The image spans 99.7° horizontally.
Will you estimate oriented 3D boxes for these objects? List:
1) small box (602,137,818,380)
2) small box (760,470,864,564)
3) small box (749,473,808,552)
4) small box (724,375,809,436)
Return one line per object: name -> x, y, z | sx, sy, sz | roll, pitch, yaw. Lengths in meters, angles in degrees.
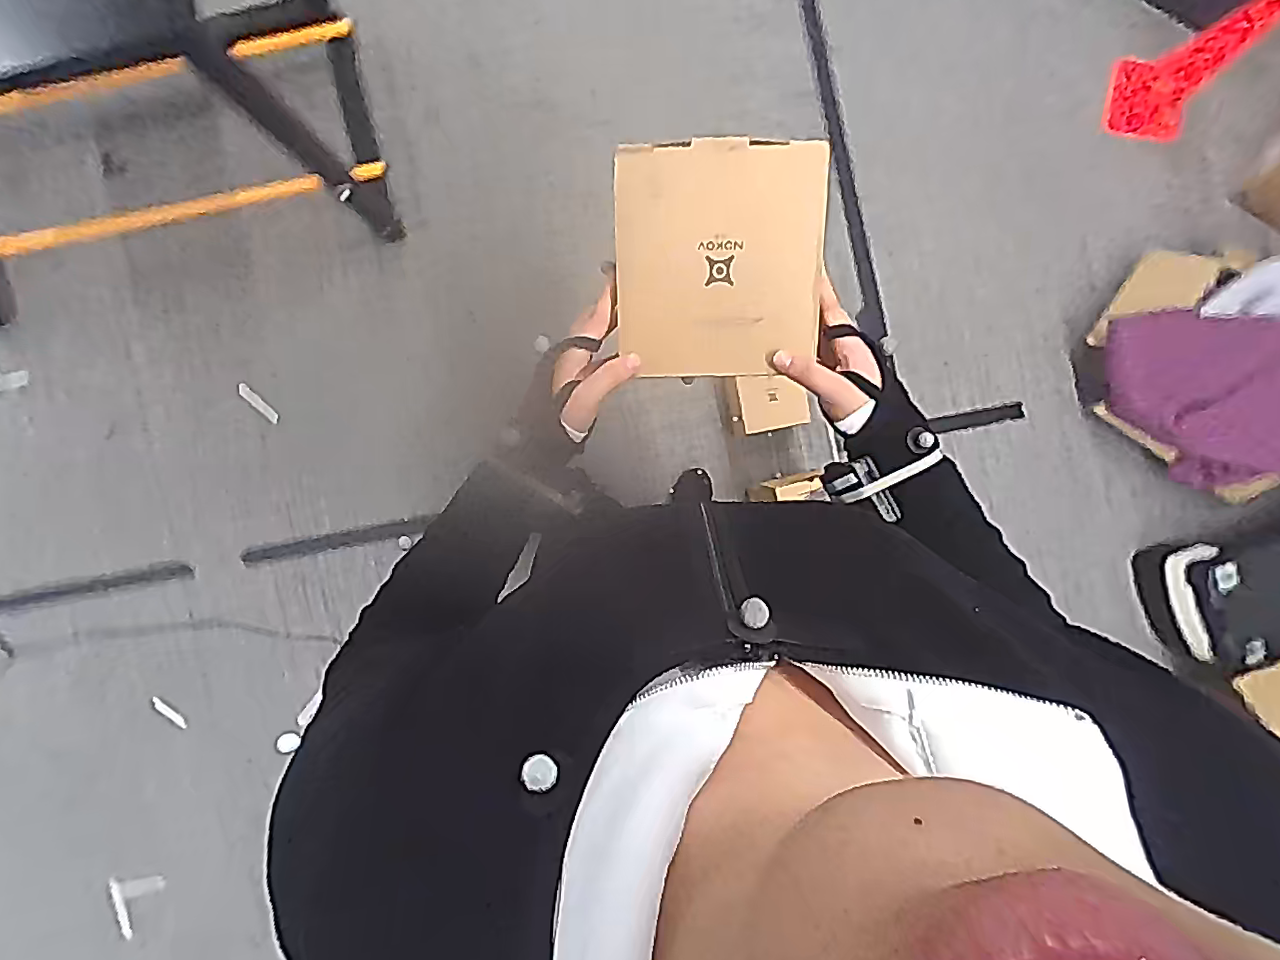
small box -> 0.052, -0.188, 0.497 | 0.168, 0.176, 0.179 | -2, 106, 0
small box -> 0.388, 0.079, 1.250 | 0.168, 0.176, 0.179 | -14, 92, 0
small box -> 0.393, 0.080, 1.416 | 0.179, 0.176, 0.168 | -14, 92, 1
small box -> 0.323, -0.210, 1.405 | 0.168, 0.176, 0.179 | -10, 91, 0
